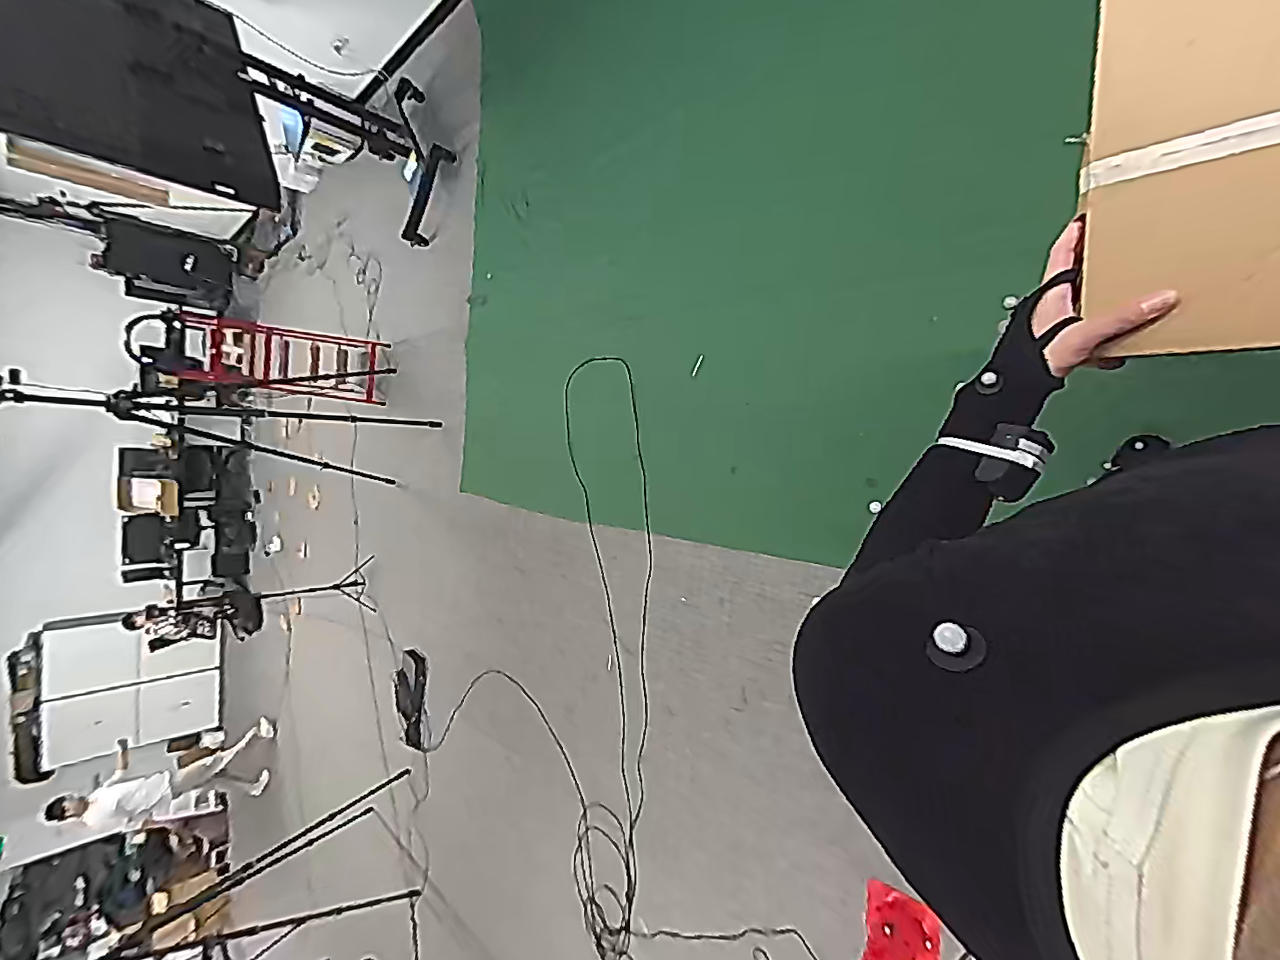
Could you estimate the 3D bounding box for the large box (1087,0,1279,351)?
[{"bbox_3d":[0.639,-0.282,0.430,0.408,0.320,0.320,6,105,47],"label":"large box"}]
